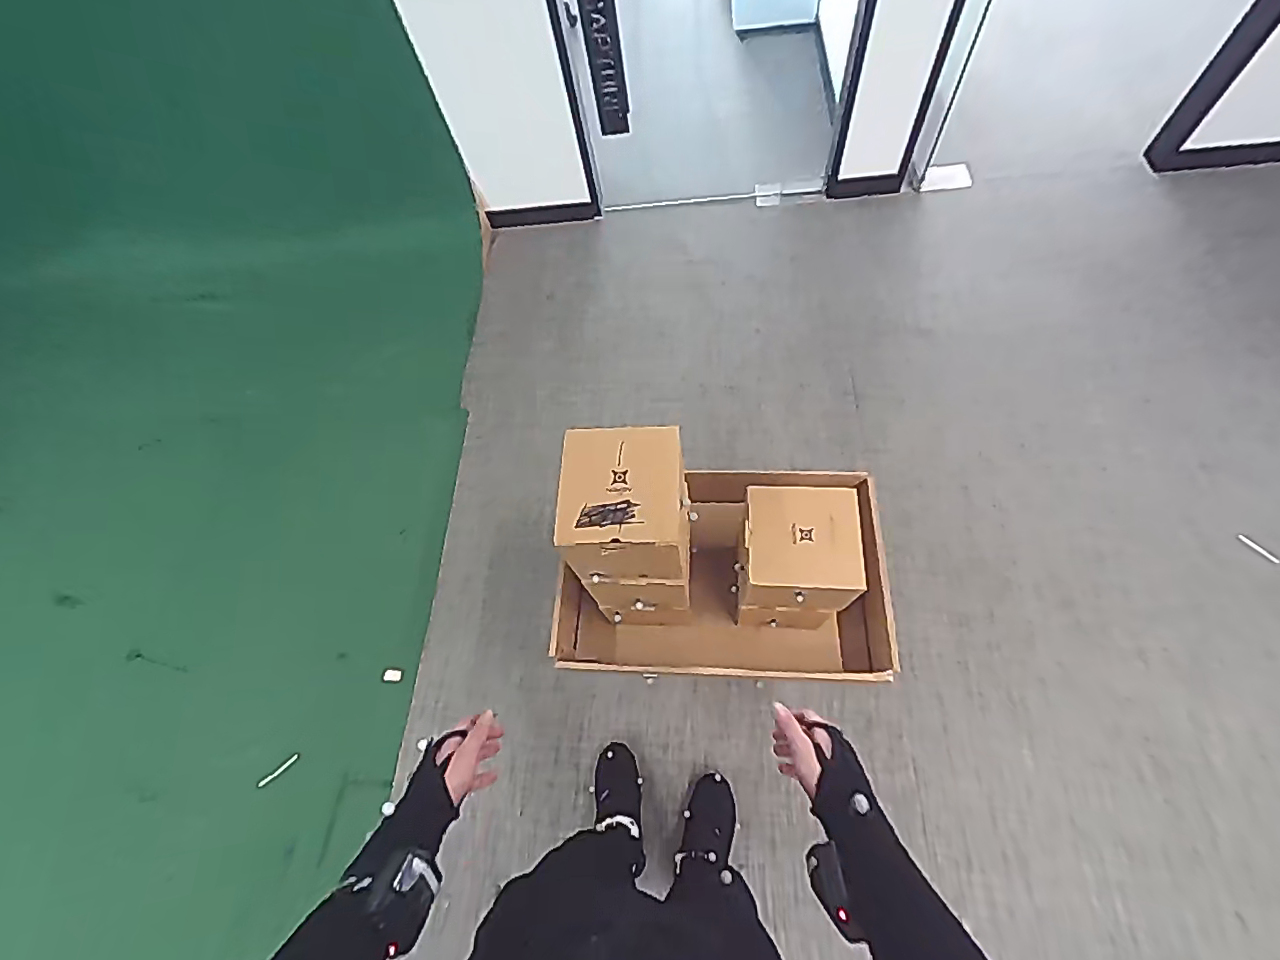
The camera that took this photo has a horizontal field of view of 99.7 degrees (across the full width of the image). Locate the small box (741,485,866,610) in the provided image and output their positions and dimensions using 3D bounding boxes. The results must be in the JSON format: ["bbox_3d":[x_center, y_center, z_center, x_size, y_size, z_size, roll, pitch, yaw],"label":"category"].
[{"bbox_3d":[0.263,0.118,0.908,0.179,0.176,0.168,2,66,7],"label":"small box"}]

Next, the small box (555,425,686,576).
[{"bbox_3d":[-0.017,0.037,0.793,0.168,0.176,0.179,-1,63,6],"label":"small box"}]

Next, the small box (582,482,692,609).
[{"bbox_3d":[0.003,0.114,0.937,0.168,0.176,0.179,0,64,7],"label":"small box"}]
